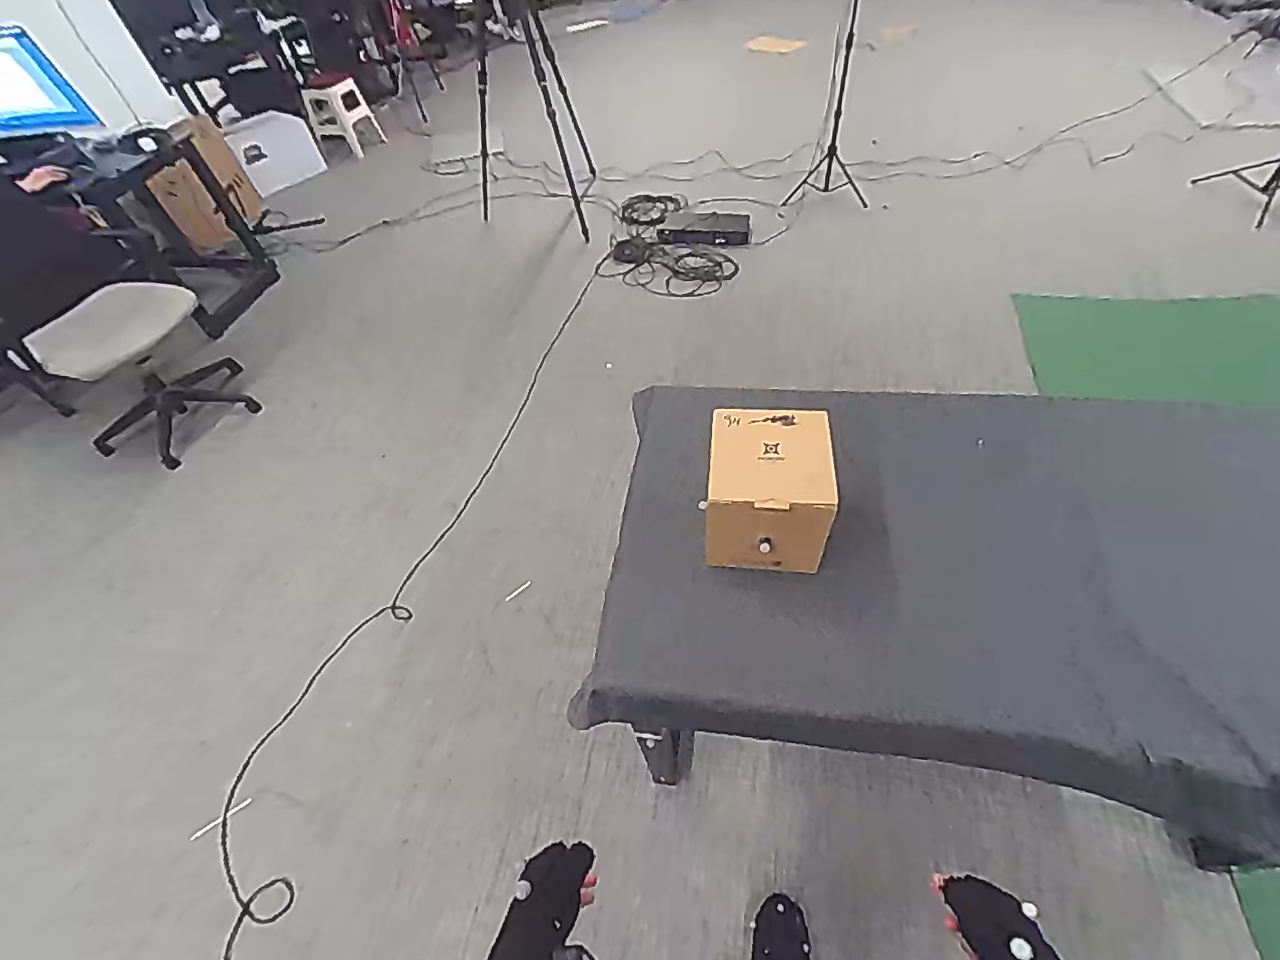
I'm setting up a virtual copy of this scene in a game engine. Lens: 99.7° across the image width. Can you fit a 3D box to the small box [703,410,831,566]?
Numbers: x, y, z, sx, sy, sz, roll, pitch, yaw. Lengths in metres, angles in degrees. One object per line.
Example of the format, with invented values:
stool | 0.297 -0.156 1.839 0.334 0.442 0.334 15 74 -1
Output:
small box | 0.186 0.014 0.813 0.168 0.176 0.179 2 52 10
